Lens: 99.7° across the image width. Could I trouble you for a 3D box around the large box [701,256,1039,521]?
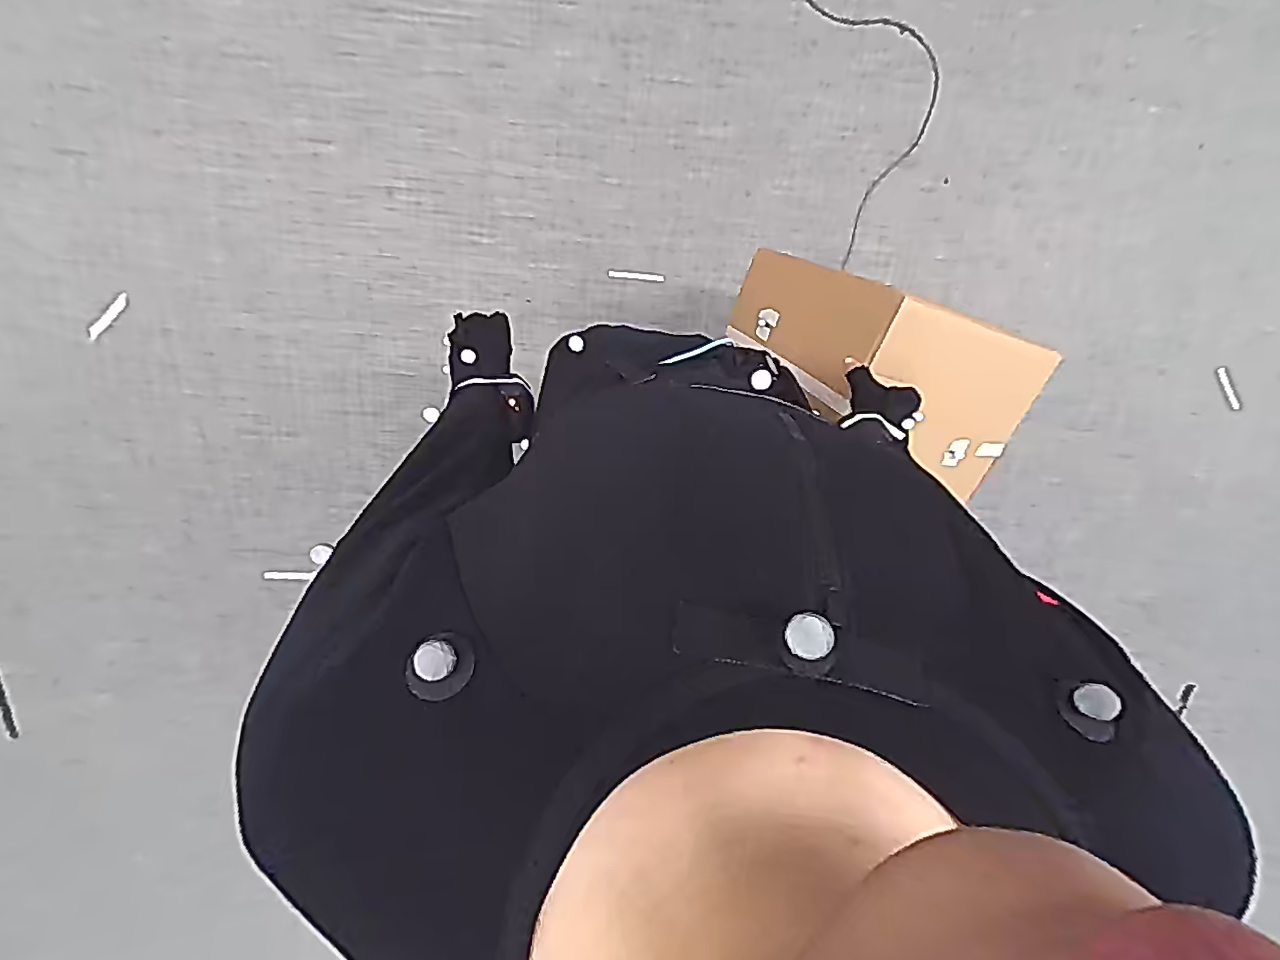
[{"bbox_3d":[0.358,-0.171,0.955,0.320,0.408,0.320,10,117,-21],"label":"large box"}]
